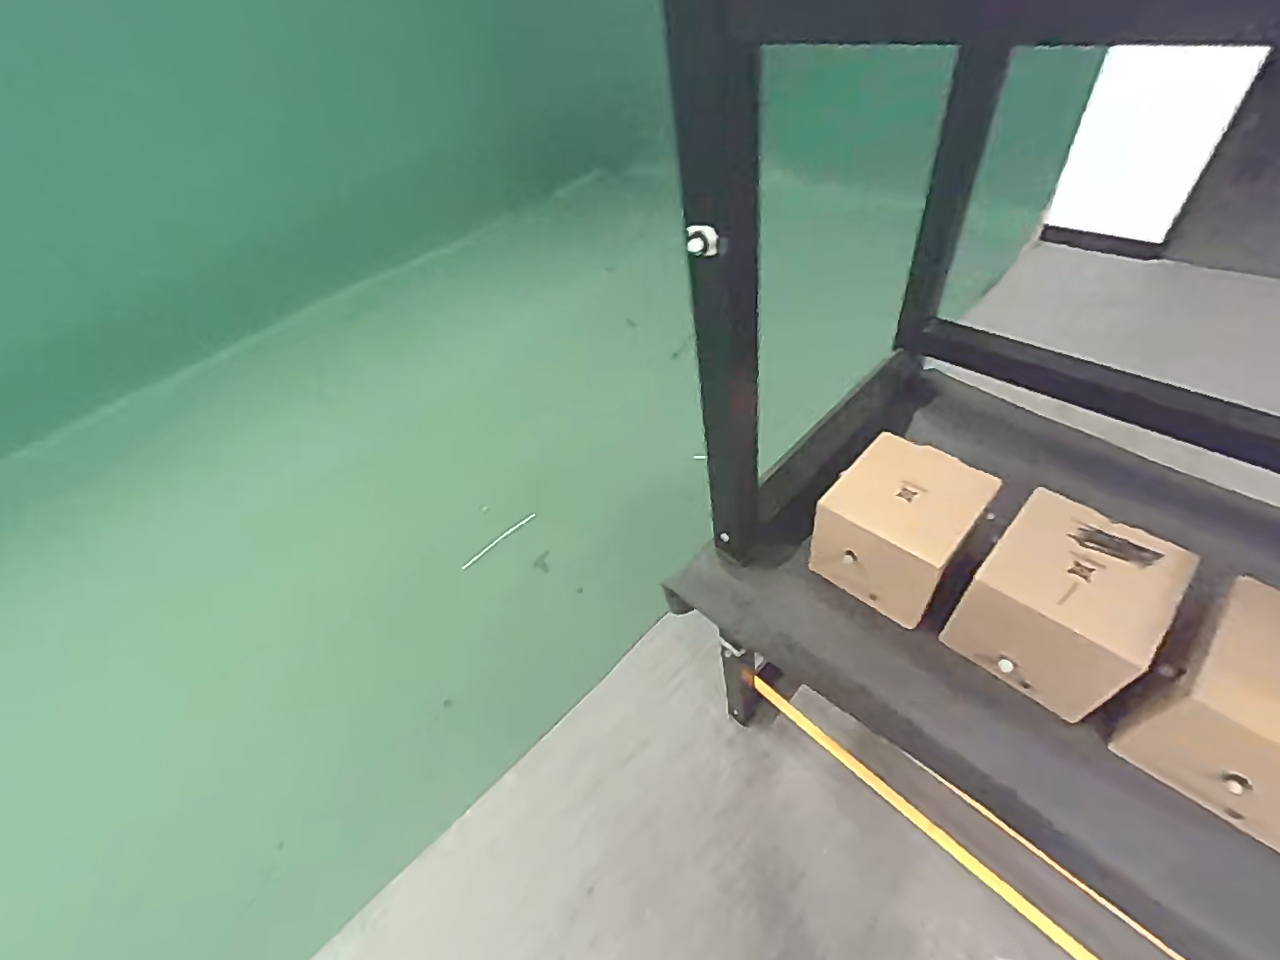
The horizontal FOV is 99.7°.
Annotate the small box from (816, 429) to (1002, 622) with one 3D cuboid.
[{"bbox_3d":[0.367,0.066,0.767,0.168,0.176,0.179,33,61,33],"label":"small box"}]
